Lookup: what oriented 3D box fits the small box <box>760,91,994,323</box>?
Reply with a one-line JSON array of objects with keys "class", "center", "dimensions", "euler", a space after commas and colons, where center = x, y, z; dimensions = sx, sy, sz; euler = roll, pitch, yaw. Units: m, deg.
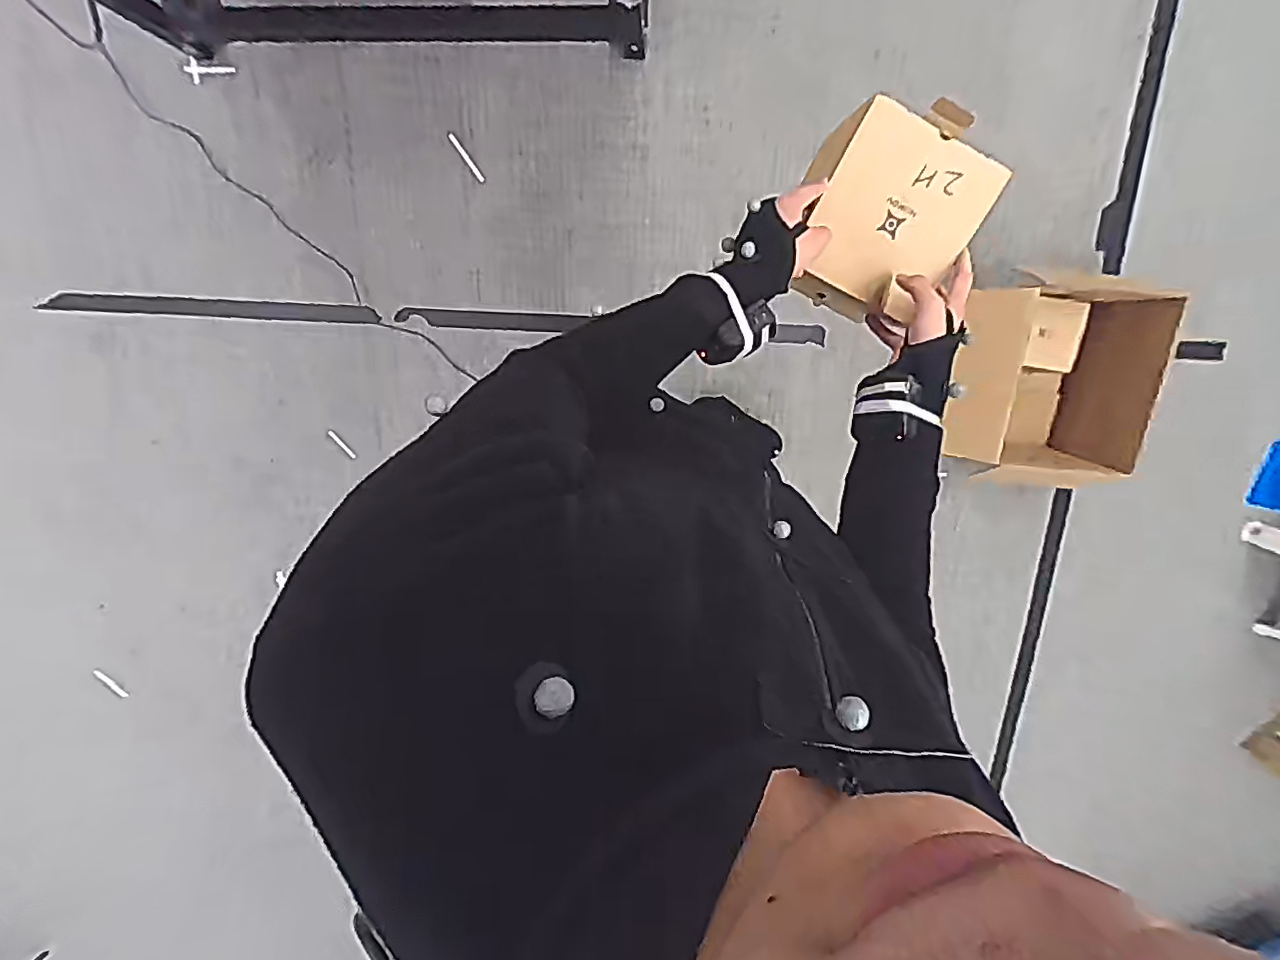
[{"class": "small box", "center": [0.261, -0.307, 0.649], "dimensions": [0.168, 0.176, 0.179], "euler": [25, 106, -8]}]
